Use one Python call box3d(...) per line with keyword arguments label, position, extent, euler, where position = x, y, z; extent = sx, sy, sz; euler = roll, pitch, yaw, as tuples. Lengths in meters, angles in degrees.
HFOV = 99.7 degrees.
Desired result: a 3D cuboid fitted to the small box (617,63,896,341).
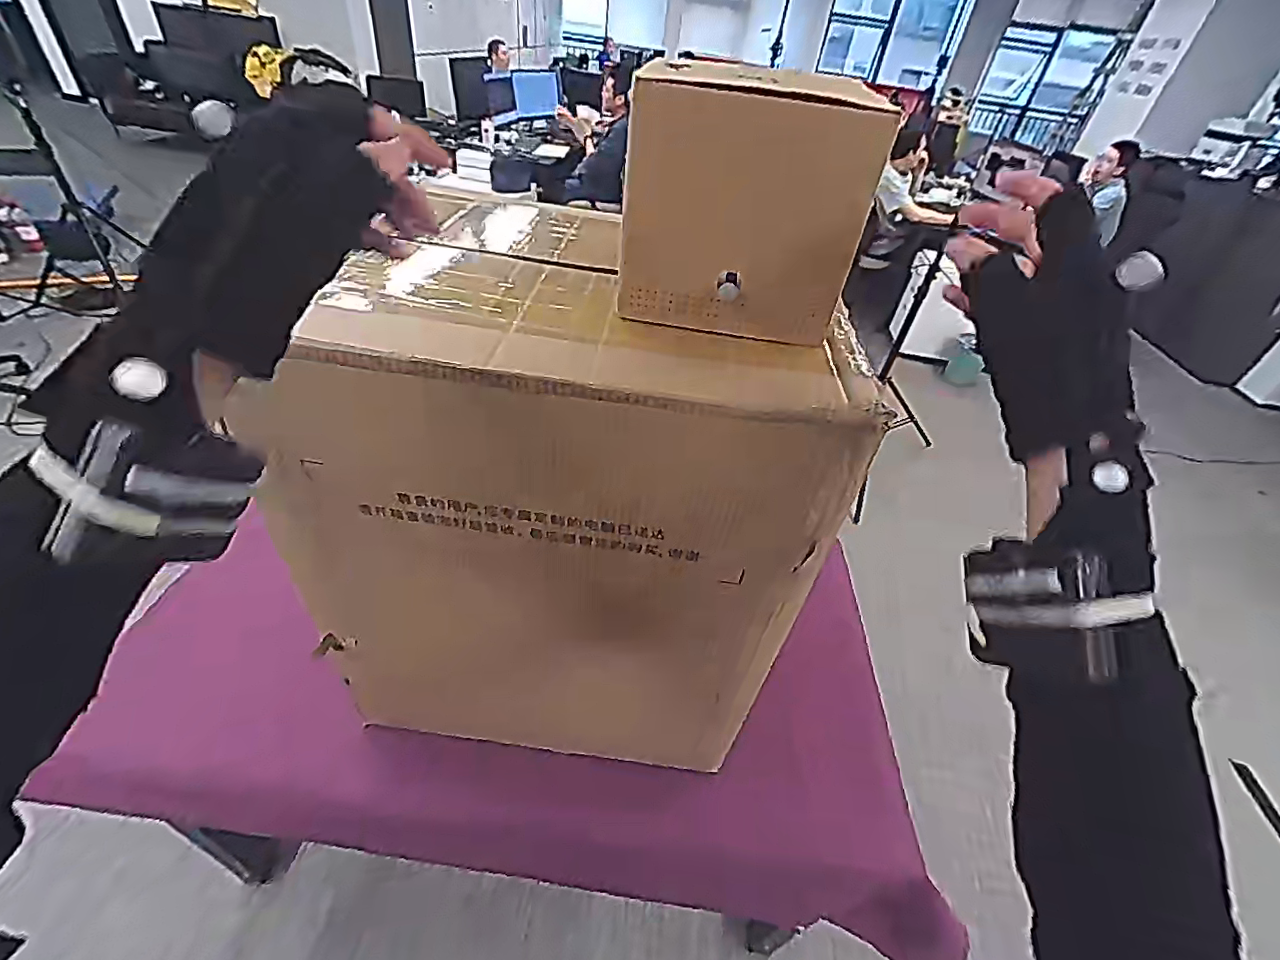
box3d(label="small box", position=(0.083, -0.236, 0.464), extent=(0.179, 0.176, 0.168), euler=(9, 40, 1))
